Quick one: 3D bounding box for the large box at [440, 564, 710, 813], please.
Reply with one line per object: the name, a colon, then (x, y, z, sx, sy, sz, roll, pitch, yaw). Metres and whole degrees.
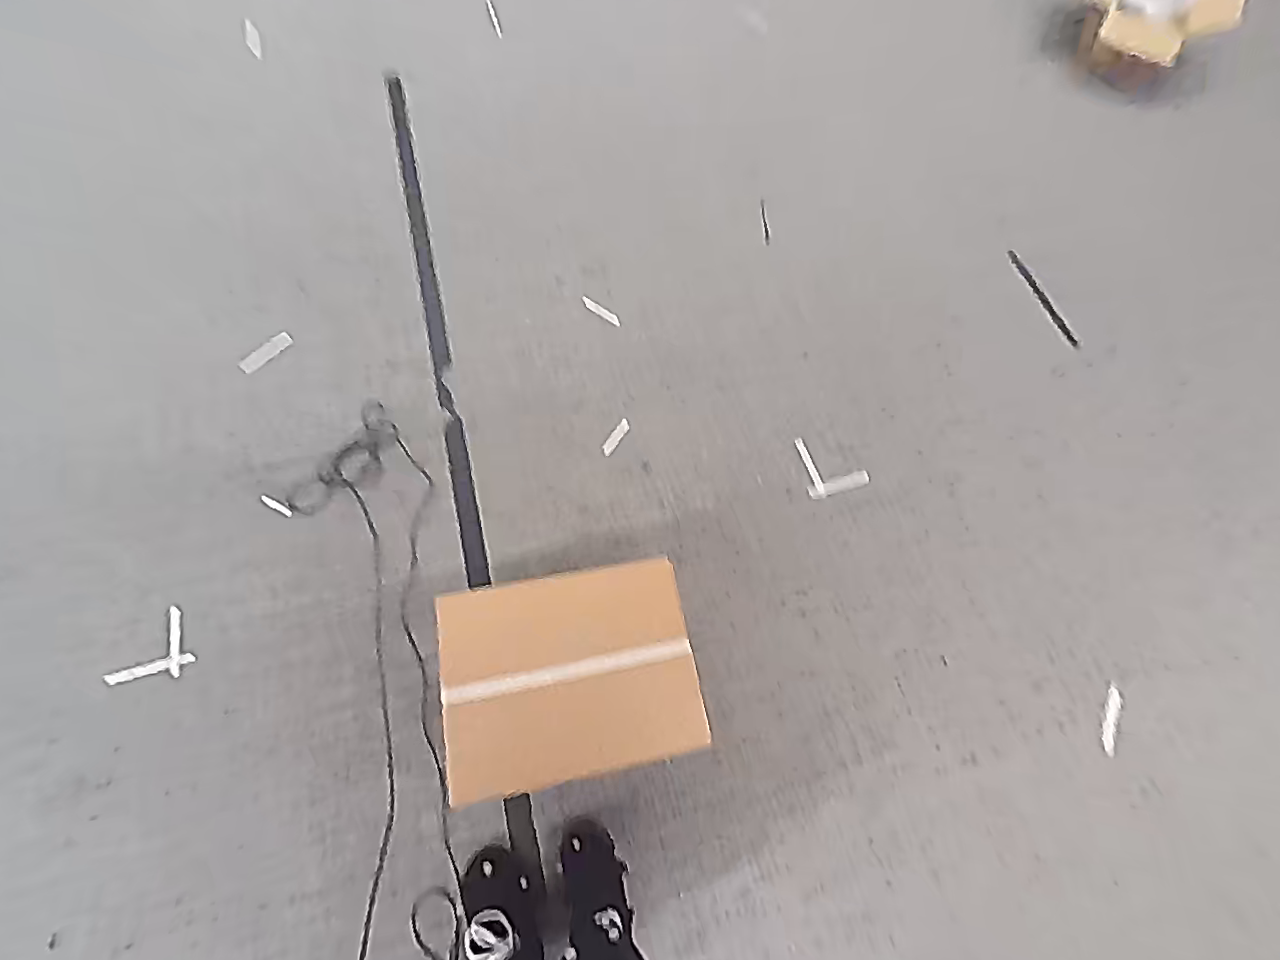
large box: (-0.124, 0.375, 1.015, 0.408, 0.320, 0.320, -9, 68, -10)
